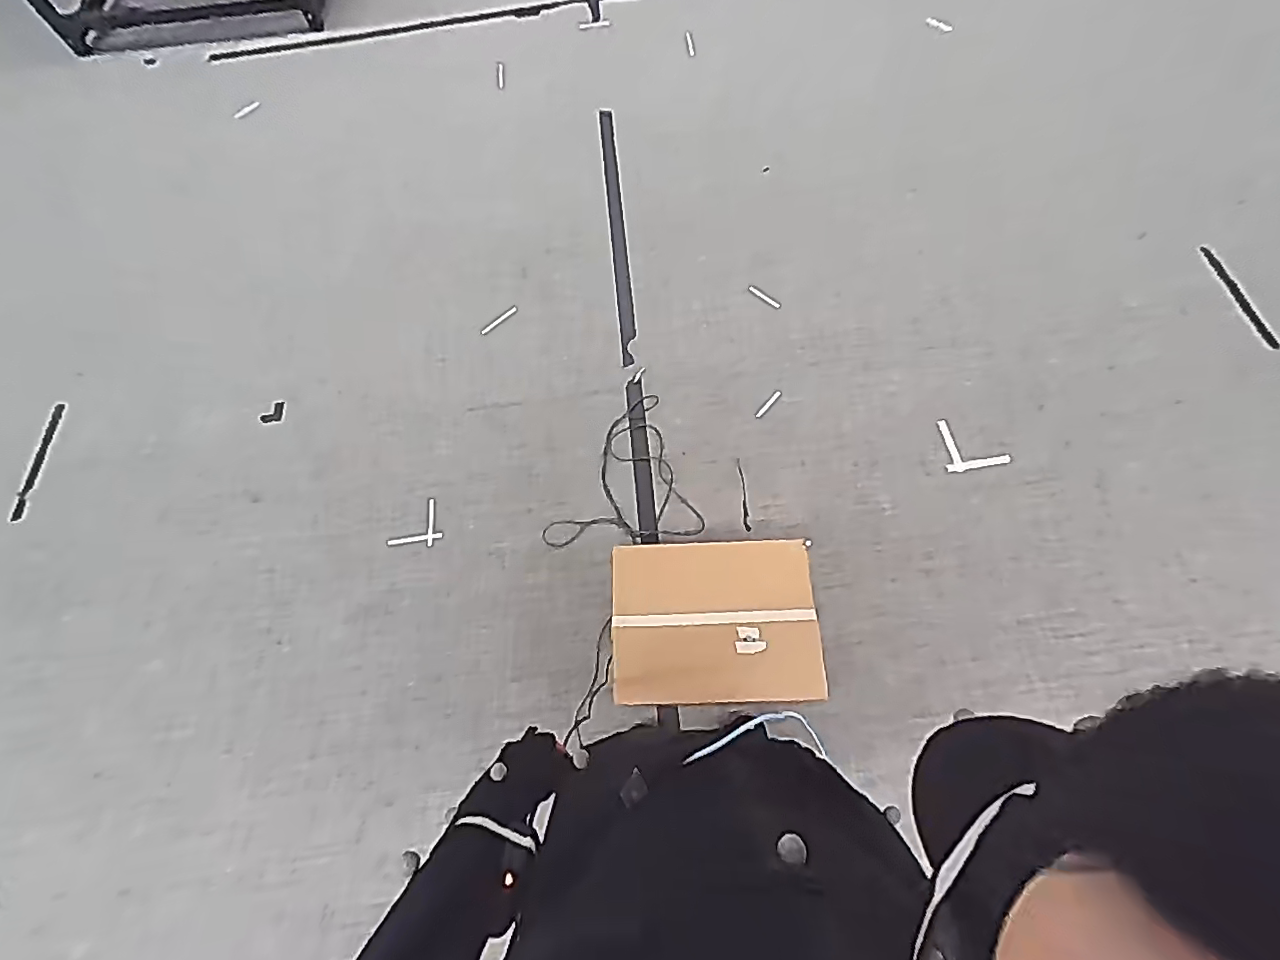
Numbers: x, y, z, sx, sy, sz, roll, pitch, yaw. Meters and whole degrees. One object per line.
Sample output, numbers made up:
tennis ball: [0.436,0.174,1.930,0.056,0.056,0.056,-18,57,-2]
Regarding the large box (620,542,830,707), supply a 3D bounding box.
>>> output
large box: [0.167,0.339,1.223,0.408,0.320,0.320,-2,68,2]
